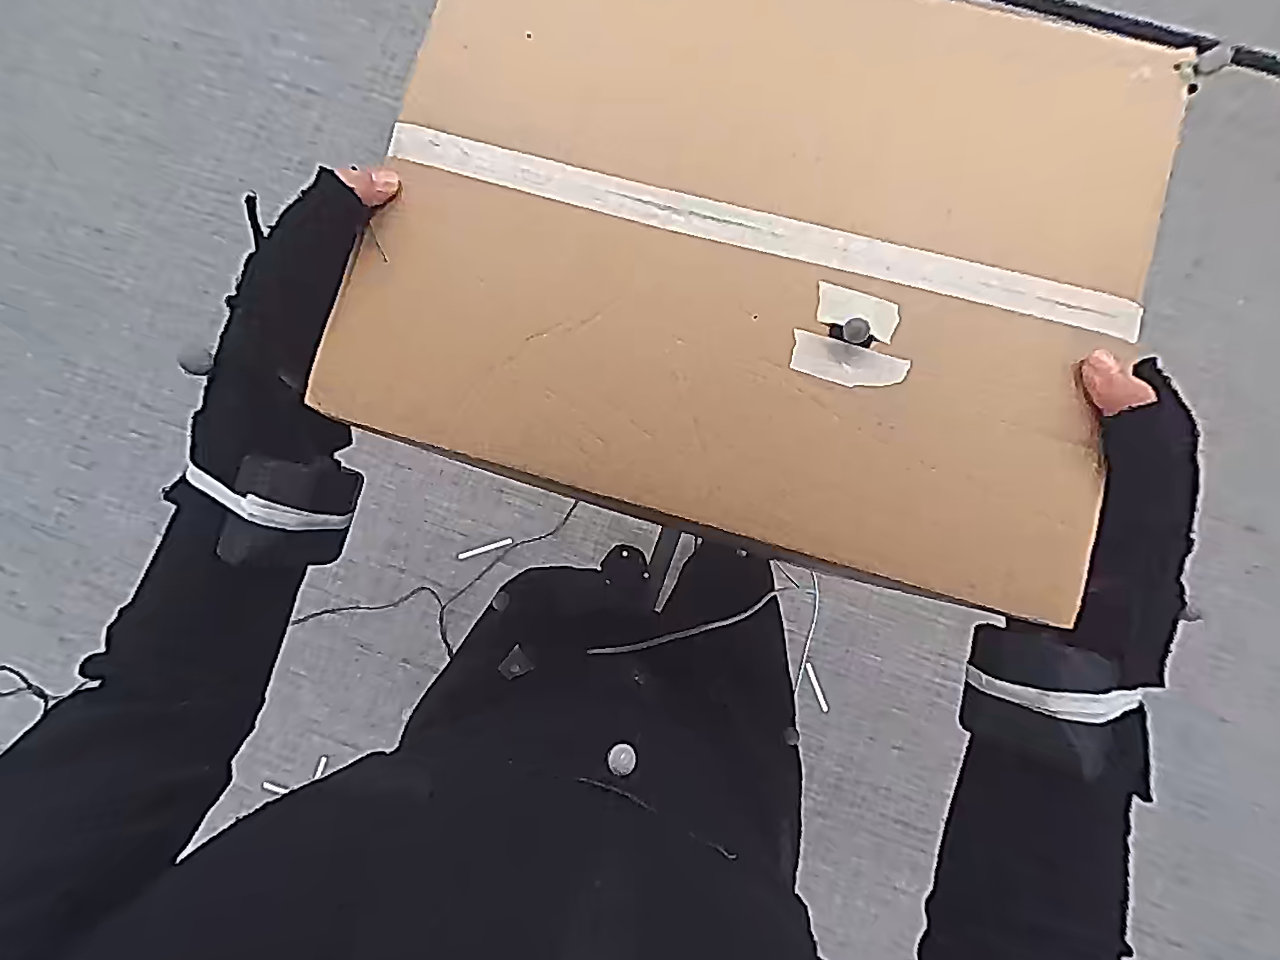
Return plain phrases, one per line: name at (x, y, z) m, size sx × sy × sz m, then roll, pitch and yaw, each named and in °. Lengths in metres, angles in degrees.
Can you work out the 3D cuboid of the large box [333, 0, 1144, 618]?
large box at (0.060, -0.108, 0.452) m, size 0.408 × 0.320 × 0.320 m, roll 16°, pitch 86°, yaw 3°
